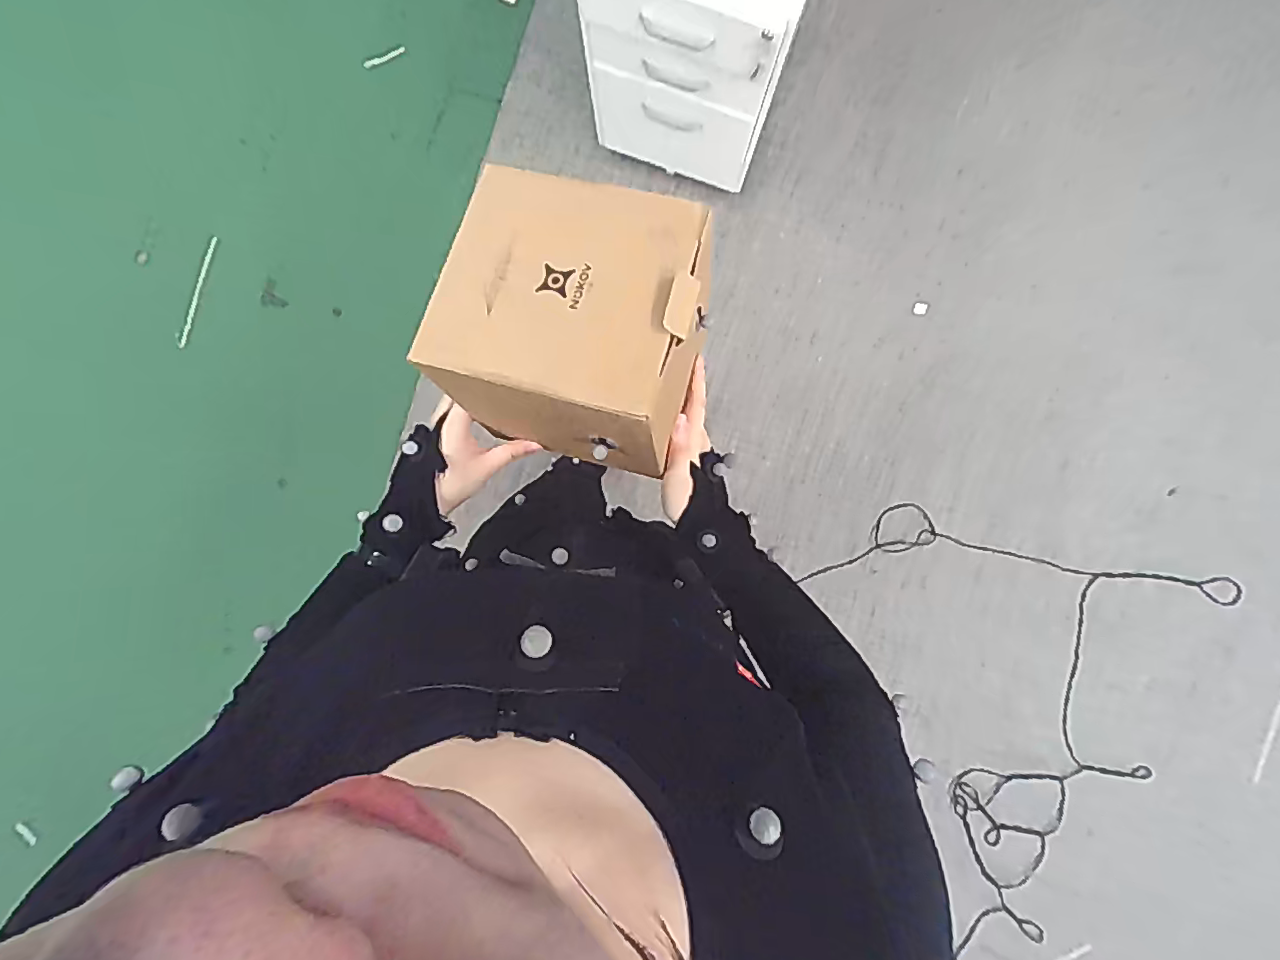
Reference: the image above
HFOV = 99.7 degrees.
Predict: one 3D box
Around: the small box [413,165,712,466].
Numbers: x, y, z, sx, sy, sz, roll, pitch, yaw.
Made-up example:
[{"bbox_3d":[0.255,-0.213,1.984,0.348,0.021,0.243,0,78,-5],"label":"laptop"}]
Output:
[{"bbox_3d":[-0.046,-0.120,0.455,0.179,0.176,0.168,14,78,9],"label":"small box"}]
